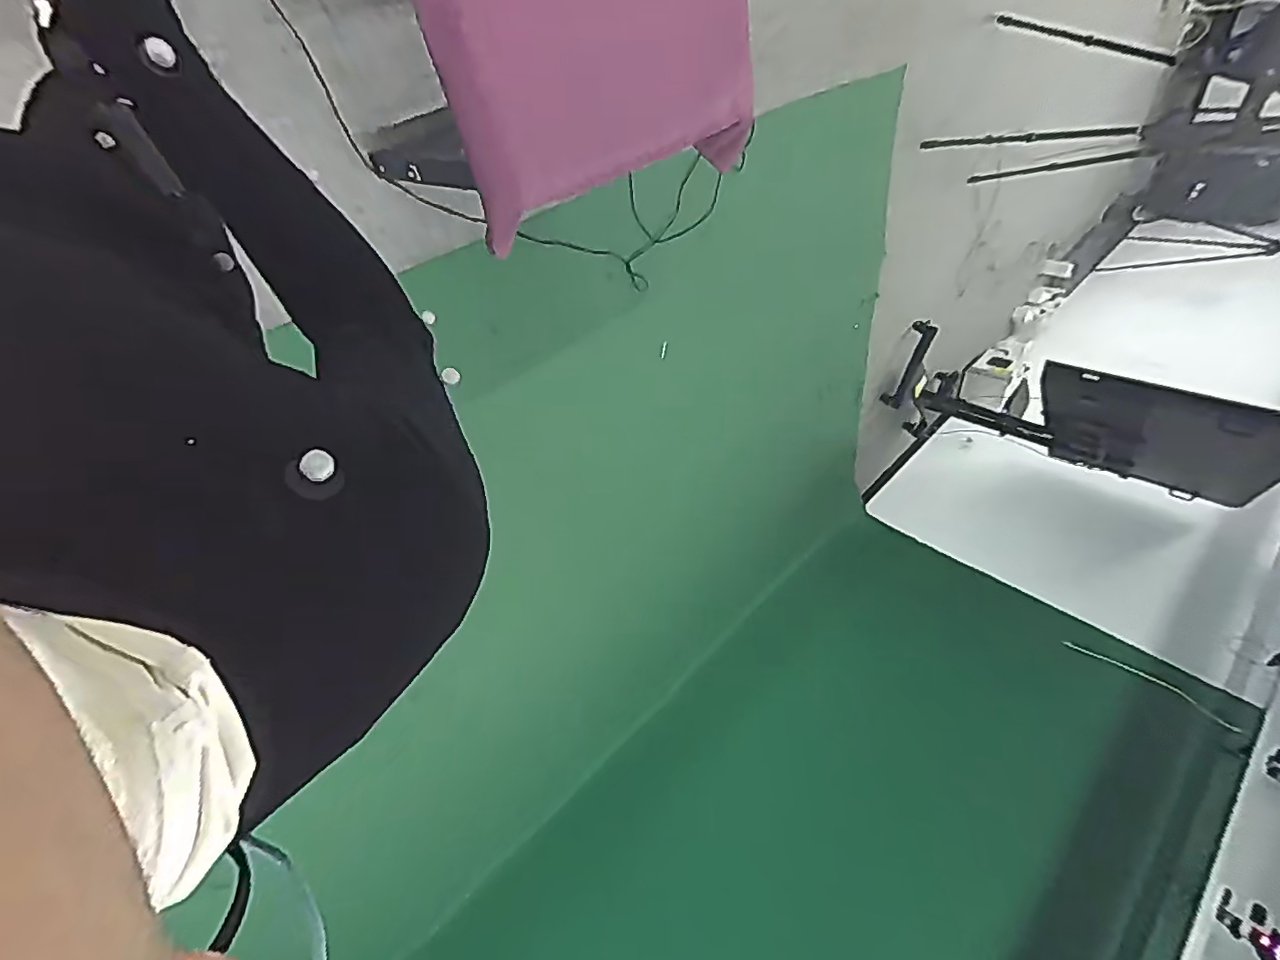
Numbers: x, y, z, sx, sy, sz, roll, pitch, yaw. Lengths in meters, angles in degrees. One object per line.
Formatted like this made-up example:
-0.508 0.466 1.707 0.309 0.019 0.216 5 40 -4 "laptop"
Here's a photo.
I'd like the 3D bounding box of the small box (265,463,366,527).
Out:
-0.918 0.084 1.522 0.179 0.176 0.168 -37 136 -24 "small box"
